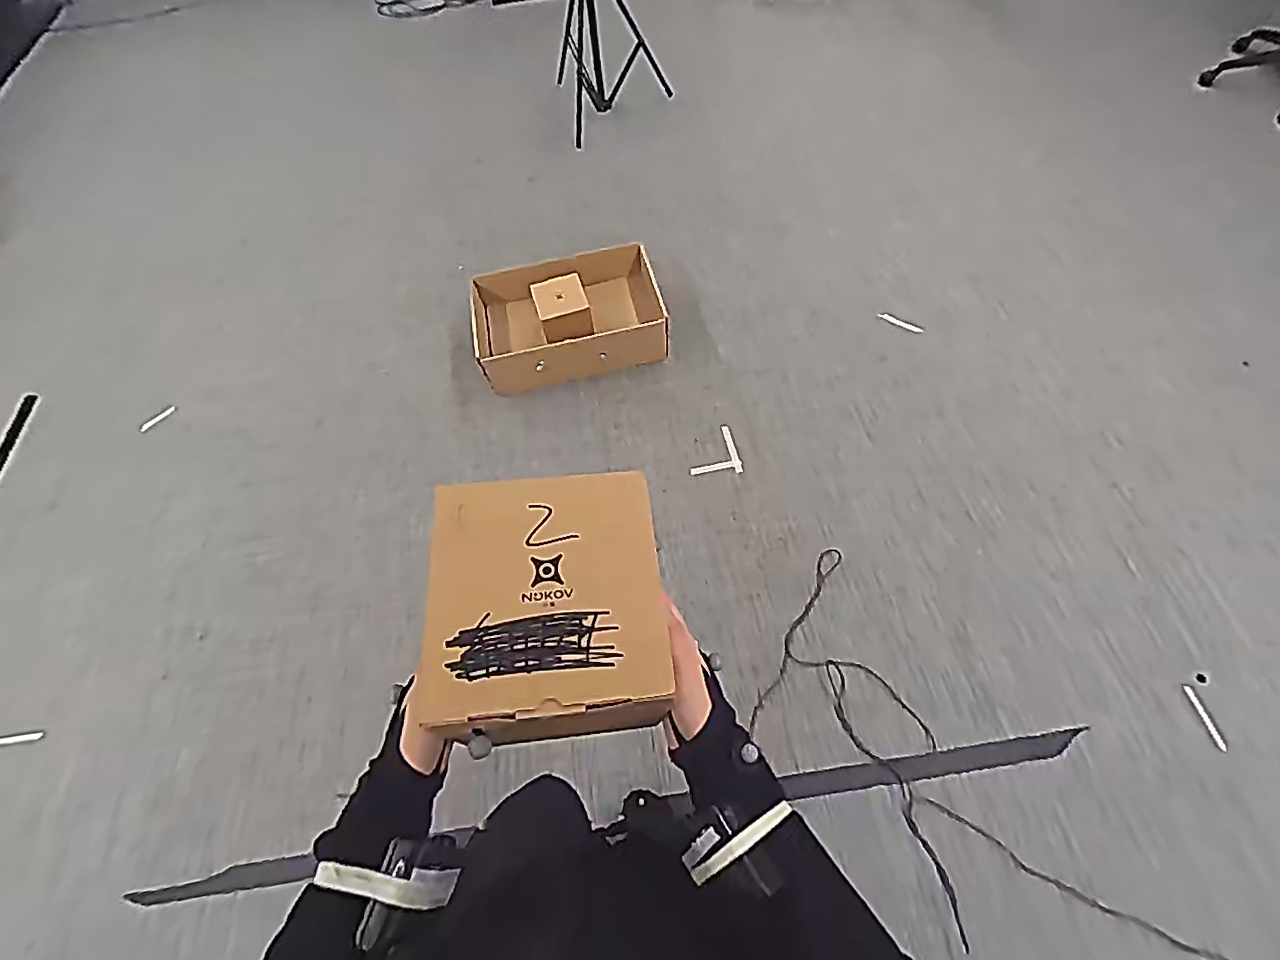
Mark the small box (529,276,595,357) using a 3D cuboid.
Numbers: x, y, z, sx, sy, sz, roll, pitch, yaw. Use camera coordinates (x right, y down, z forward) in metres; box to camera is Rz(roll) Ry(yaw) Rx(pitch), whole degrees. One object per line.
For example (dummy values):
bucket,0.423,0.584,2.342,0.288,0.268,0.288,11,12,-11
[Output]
small box,-0.262,-0.549,1.829,0.168,0.176,0.179,-18,62,-5
